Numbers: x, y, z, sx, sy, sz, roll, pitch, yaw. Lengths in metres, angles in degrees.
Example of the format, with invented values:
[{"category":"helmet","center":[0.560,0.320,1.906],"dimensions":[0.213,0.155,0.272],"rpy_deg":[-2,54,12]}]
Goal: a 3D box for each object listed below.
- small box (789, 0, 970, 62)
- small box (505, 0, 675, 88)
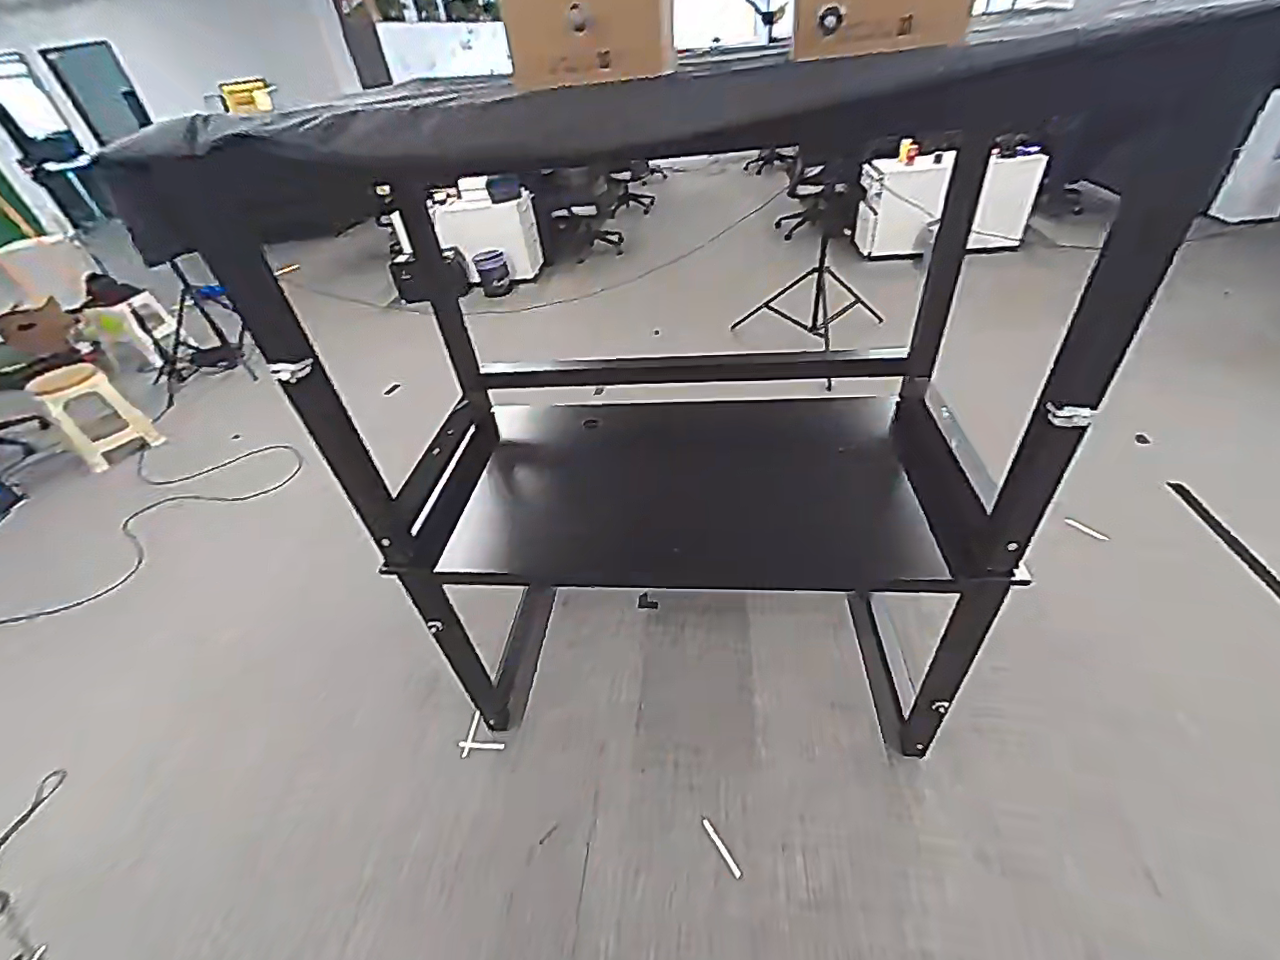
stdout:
[{"category":"small box","center":[0.245,-0.547,0.557],"dimensions":[0.168,0.176,0.179],"rpy_deg":[2,38,12]},{"category":"small box","center":[-0.052,-0.544,0.597],"dimensions":[0.168,0.176,0.179],"rpy_deg":[0,38,10]}]
